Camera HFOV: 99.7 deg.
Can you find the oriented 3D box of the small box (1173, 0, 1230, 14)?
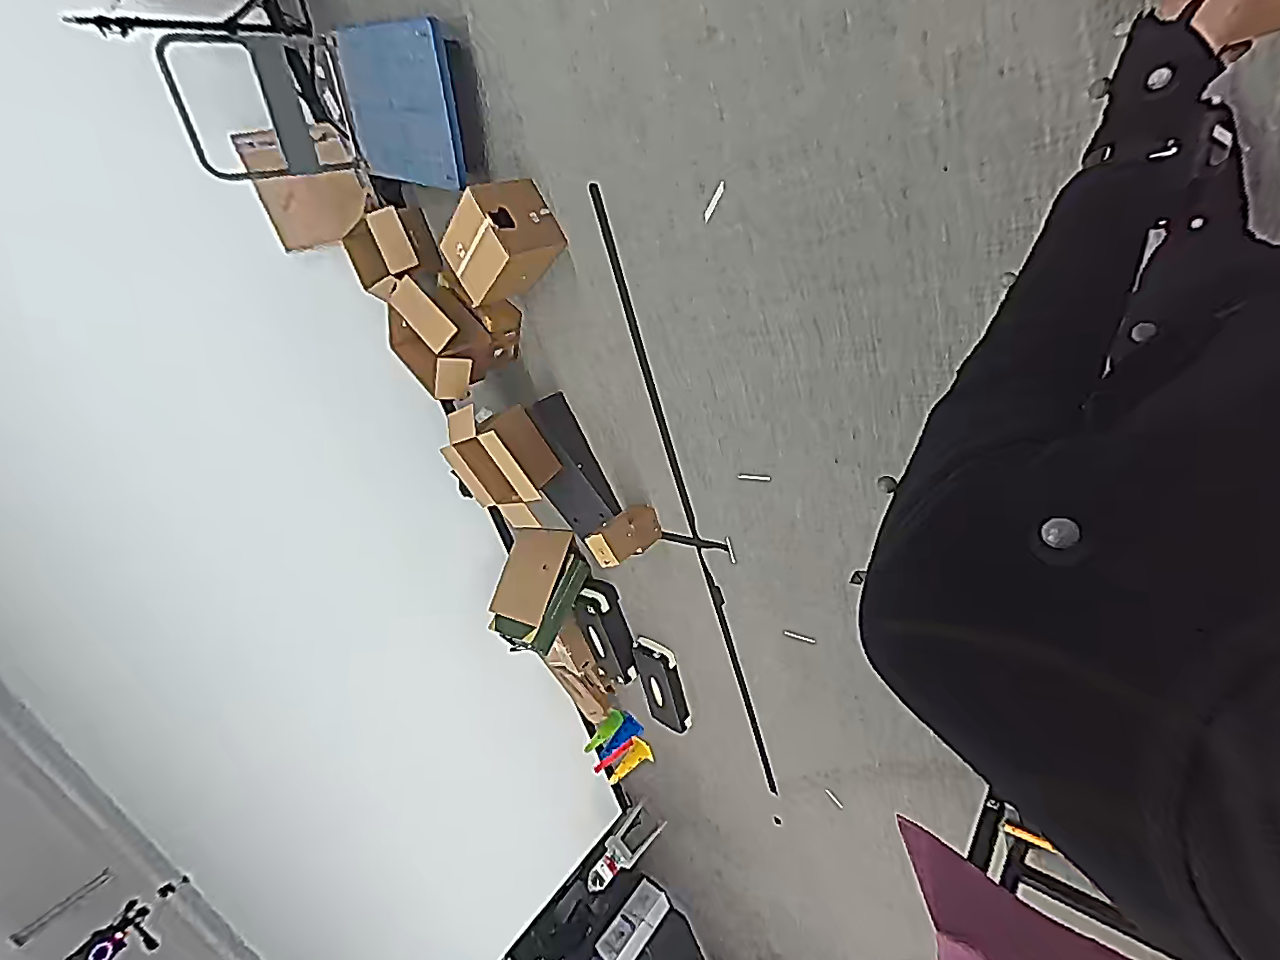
[{"bbox_3d":[0.964,-0.870,0.843,0.168,0.176,0.179,8,122,45],"label":"small box"}]
